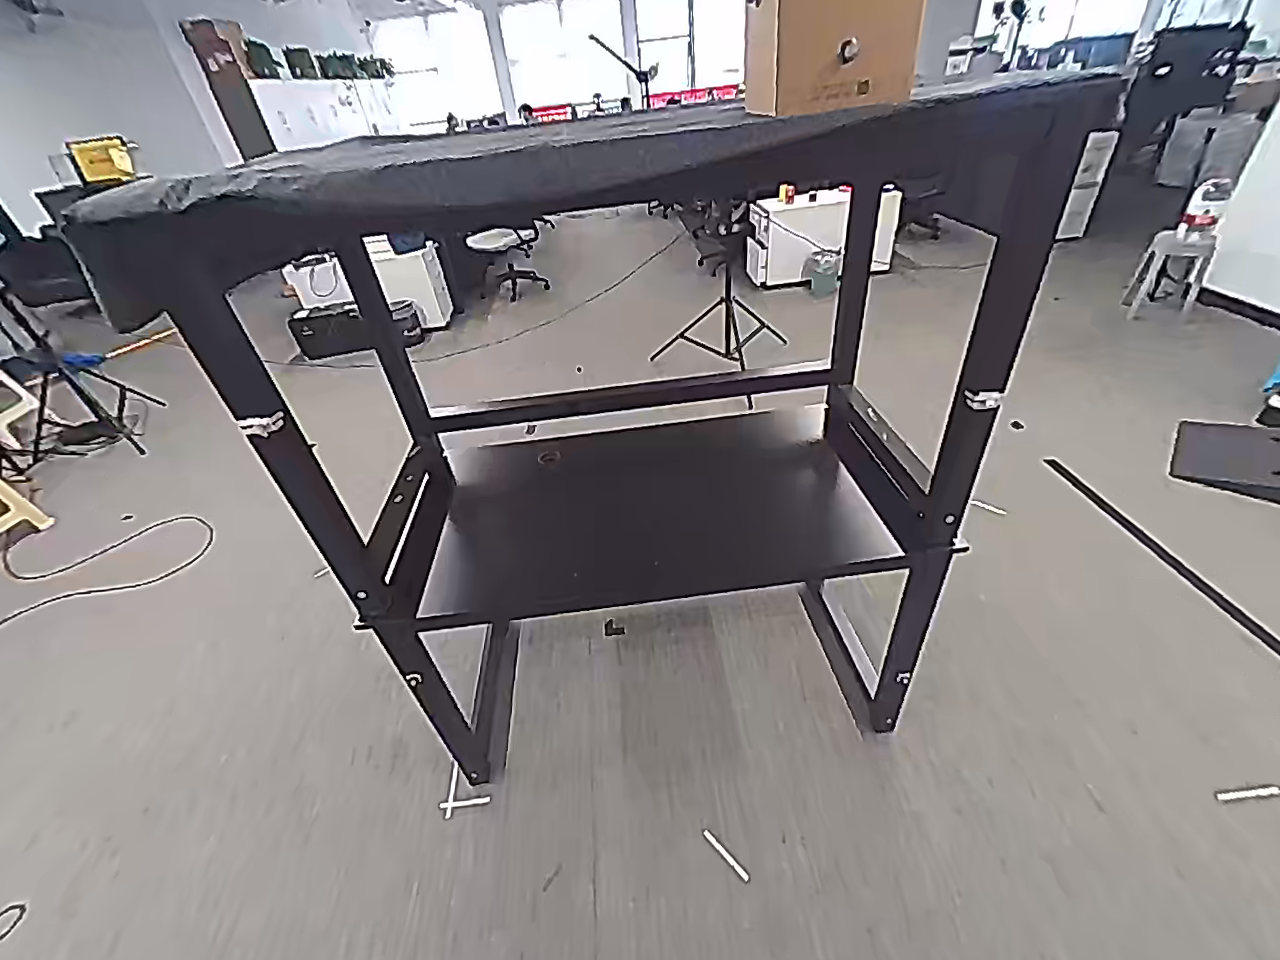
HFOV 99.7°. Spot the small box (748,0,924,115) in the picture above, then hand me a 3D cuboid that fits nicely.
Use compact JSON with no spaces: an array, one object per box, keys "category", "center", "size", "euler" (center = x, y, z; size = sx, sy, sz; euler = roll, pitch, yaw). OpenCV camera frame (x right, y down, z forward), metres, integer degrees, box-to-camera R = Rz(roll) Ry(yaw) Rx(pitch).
[{"category":"small box","center":[0.231,-0.563,0.672],"size":[0.168,0.176,0.179],"euler":[-8,36,2]}]
